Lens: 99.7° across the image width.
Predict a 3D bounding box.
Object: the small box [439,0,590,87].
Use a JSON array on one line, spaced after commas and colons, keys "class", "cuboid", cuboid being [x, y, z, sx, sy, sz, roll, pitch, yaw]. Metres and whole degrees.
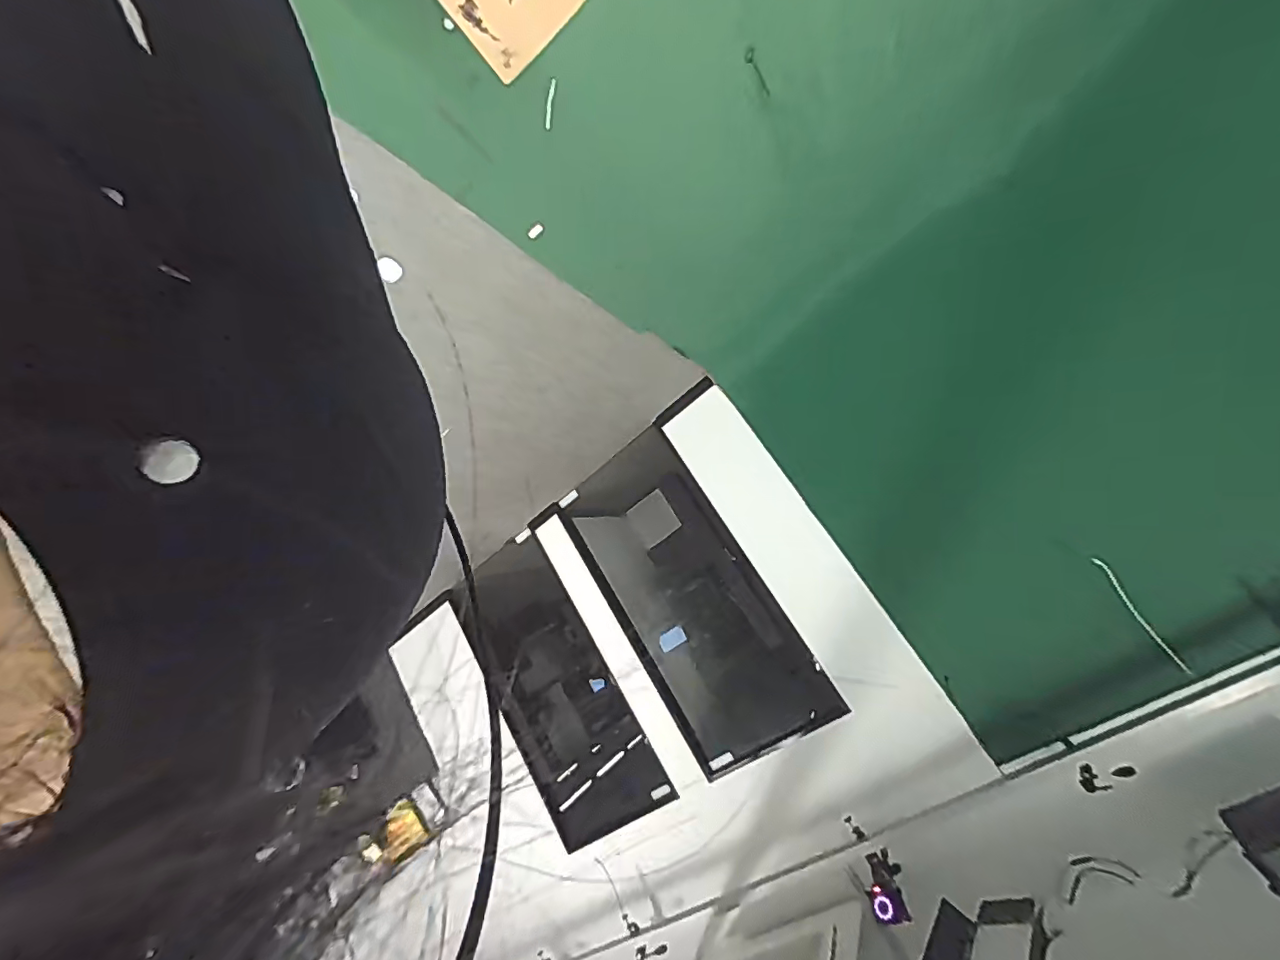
[{"class": "small box", "cuboid": [-0.196, -0.689, 0.708, 0.179, 0.176, 0.168, -37, 165, 15]}]
